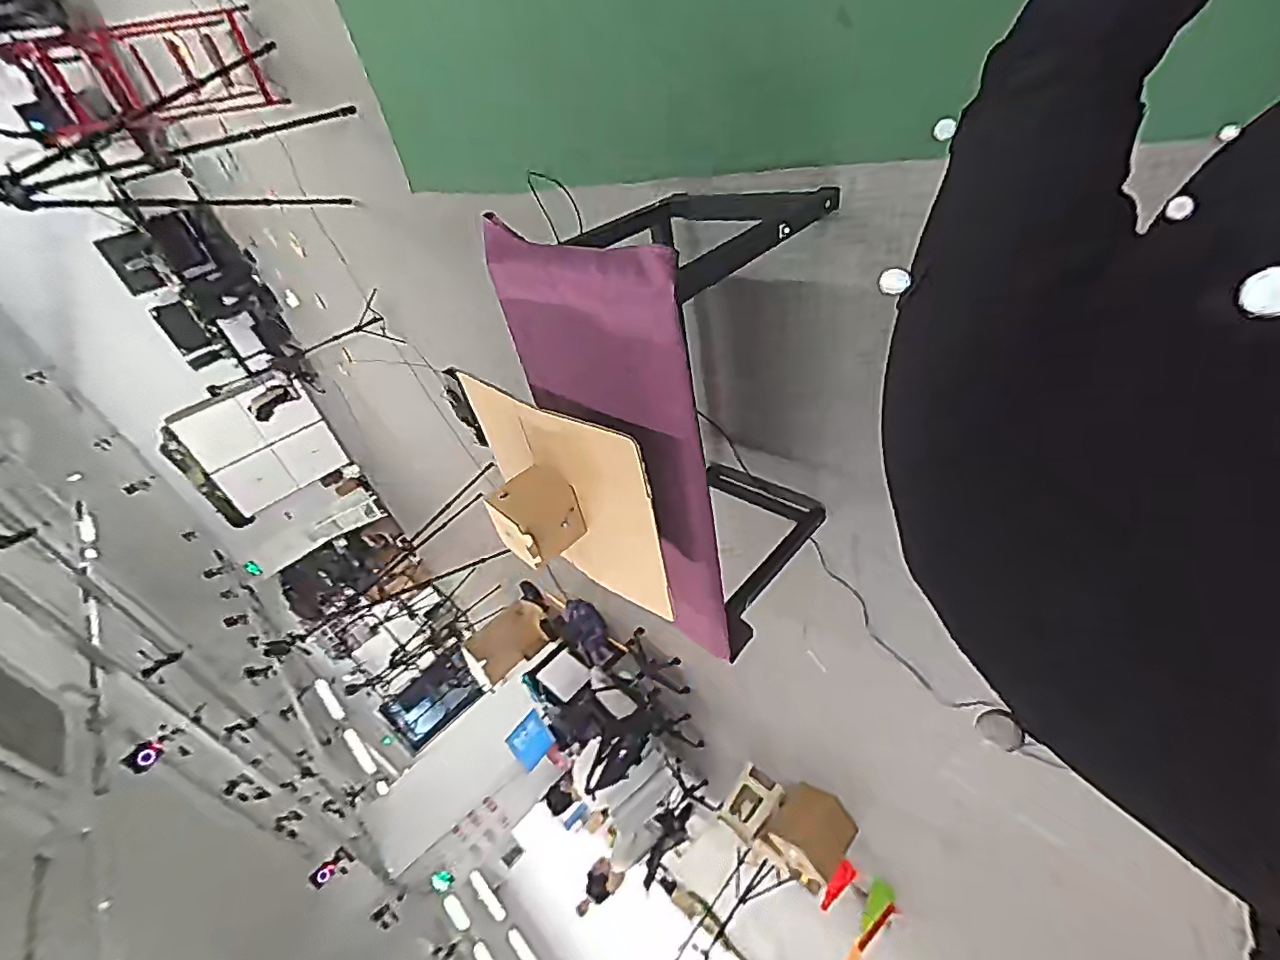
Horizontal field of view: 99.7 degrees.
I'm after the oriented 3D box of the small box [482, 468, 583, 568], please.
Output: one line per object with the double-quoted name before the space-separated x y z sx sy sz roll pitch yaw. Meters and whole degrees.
"small box" -0.278 0.091 1.413 0.179 0.176 0.168 27 142 38
